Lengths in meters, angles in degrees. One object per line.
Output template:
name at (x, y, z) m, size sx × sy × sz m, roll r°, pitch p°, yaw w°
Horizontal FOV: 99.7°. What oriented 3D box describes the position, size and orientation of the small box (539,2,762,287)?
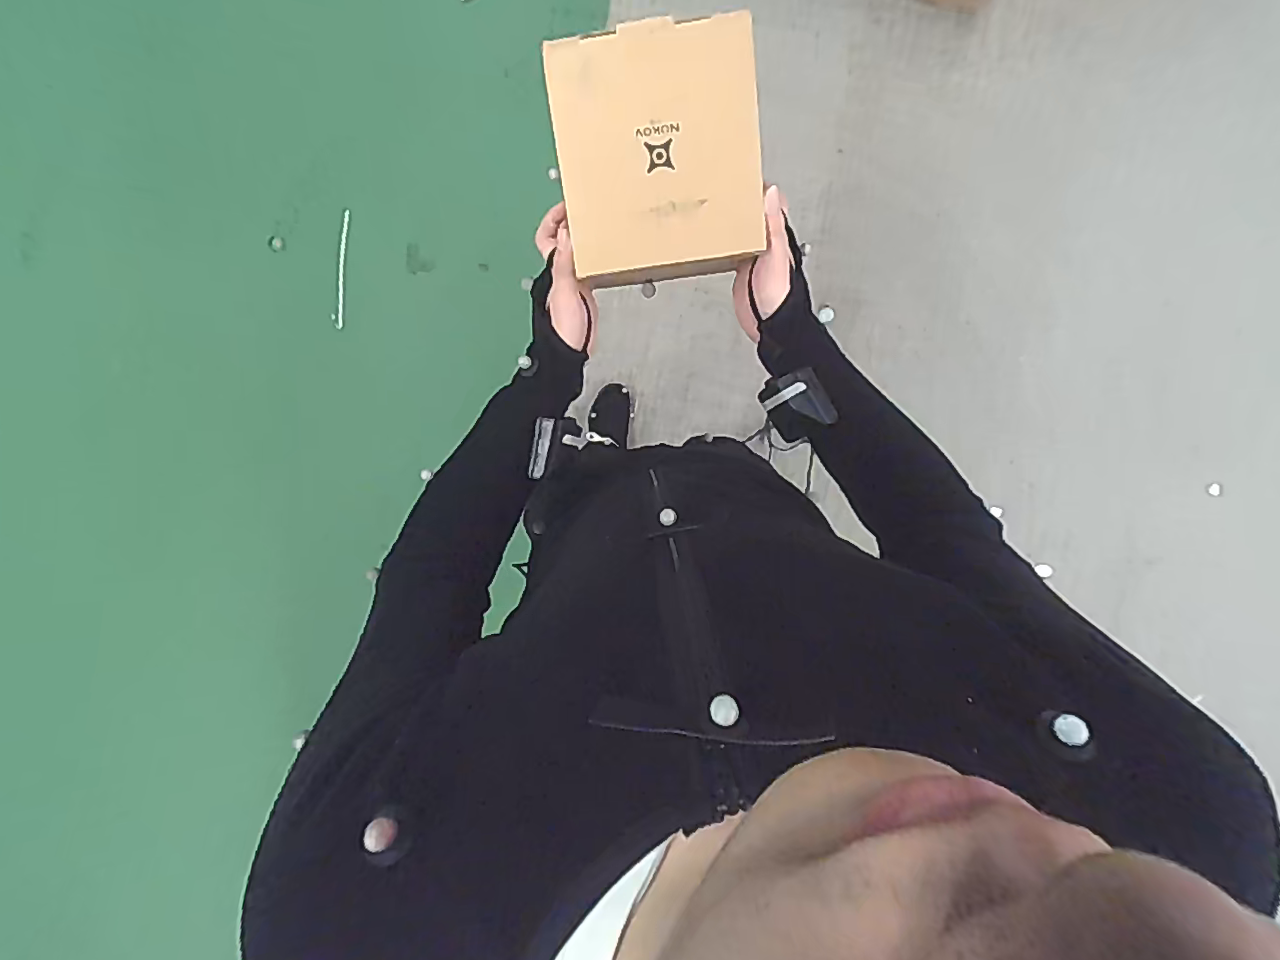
small box at (0.010, -0.286, 0.504) m, size 0.168 × 0.176 × 0.179 m, roll -6°, pitch 105°, yaw 2°
